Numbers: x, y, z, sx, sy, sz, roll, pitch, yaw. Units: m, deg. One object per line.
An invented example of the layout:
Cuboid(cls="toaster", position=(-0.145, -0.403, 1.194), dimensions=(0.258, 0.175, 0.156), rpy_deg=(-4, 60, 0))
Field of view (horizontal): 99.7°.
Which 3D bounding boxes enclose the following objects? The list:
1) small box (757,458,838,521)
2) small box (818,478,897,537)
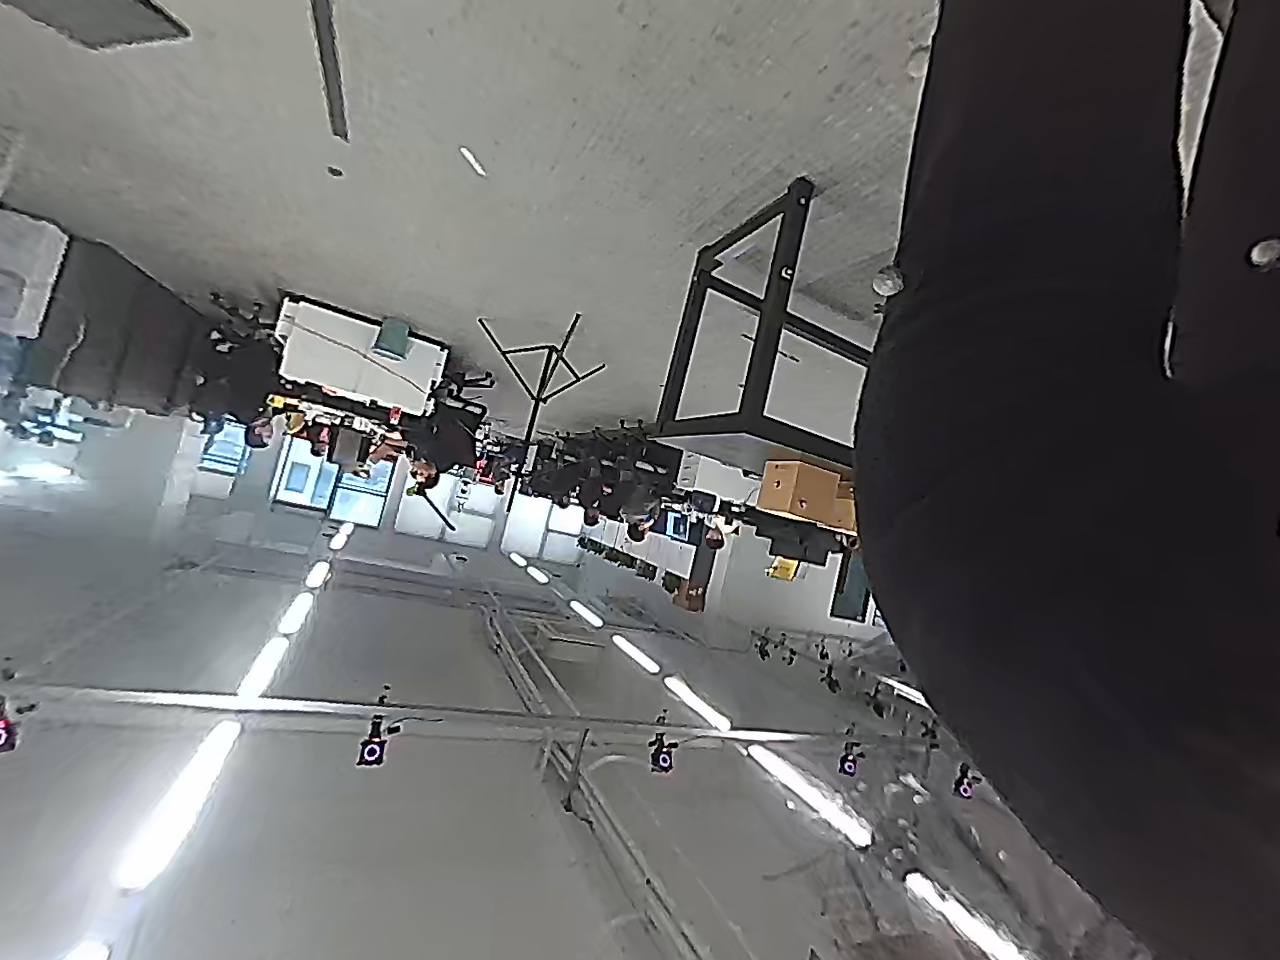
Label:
Cuboid(cls="small box", position=(0.513, 0.028, 1.757), dimensions=(0.179, 0.176, 0.168), rpy_deg=(15, 177, -24))
Cuboid(cls="small box", position=(0.751, 0.091, 1.867), dimensions=(0.179, 0.176, 0.168), rpy_deg=(14, 177, -25))
